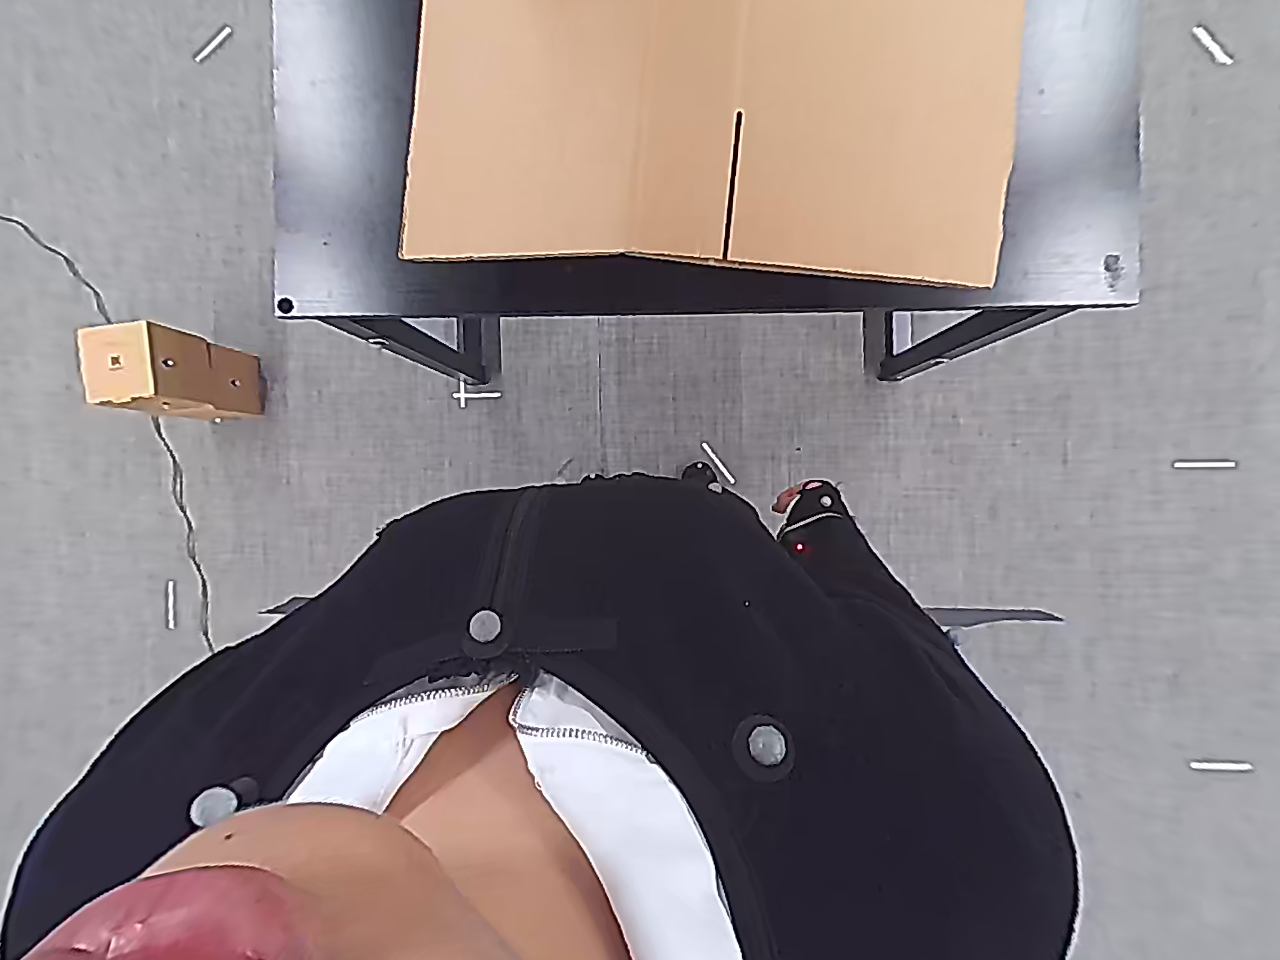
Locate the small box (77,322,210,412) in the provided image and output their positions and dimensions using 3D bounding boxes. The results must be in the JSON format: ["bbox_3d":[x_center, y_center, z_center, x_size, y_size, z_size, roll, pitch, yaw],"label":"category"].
[{"bbox_3d":[-1.182,-0.263,1.301,0.168,0.176,0.179,-7,89,2],"label":"small box"}]

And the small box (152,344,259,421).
[{"bbox_3d":[-1.173,-0.259,1.464,0.168,0.176,0.179,-4,91,3],"label":"small box"}]
